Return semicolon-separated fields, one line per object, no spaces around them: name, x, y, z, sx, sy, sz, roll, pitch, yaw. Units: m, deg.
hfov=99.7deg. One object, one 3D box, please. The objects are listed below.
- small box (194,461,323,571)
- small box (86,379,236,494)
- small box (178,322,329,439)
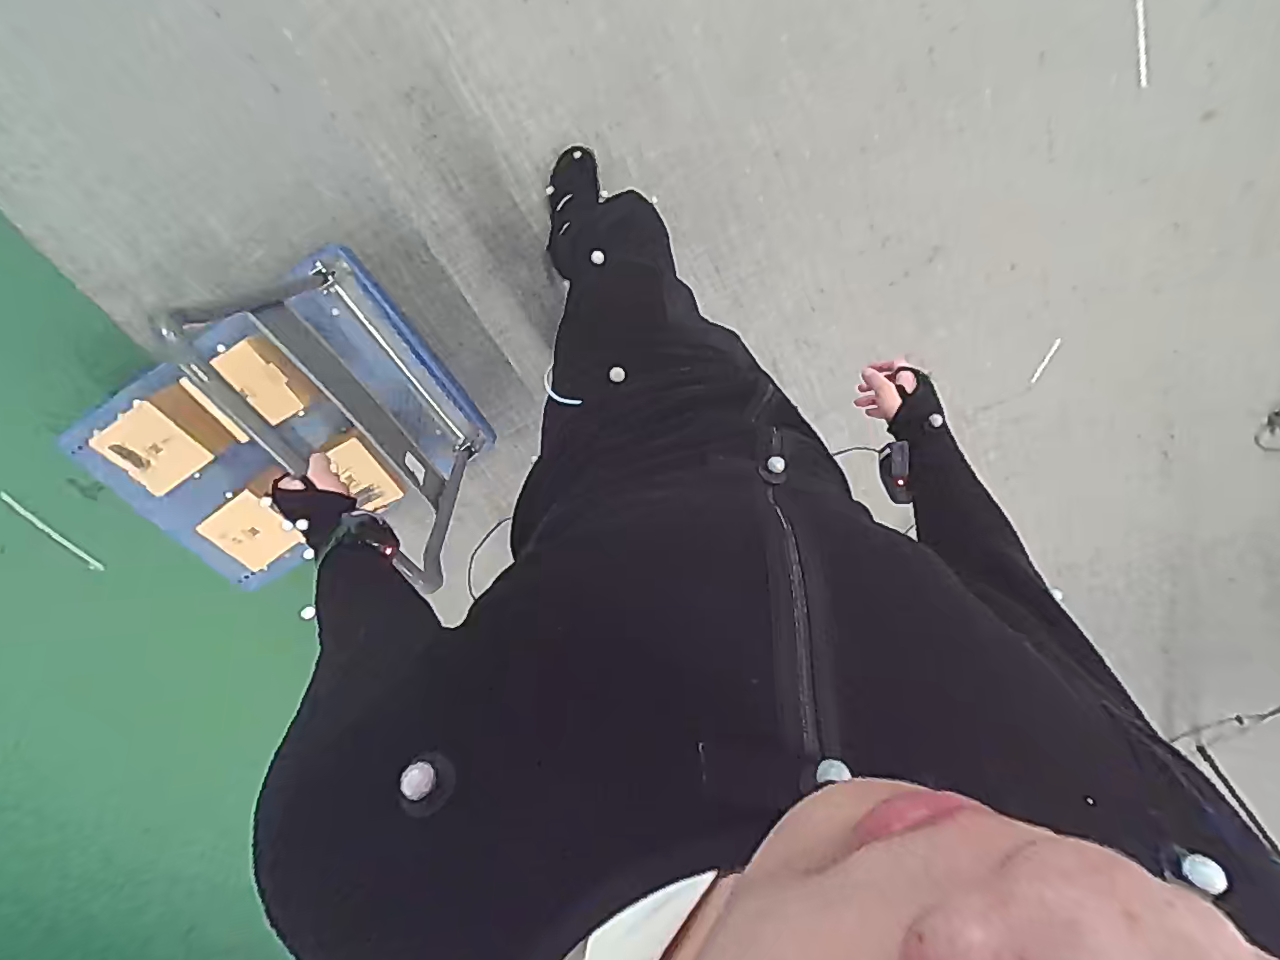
small box;-0.924;0.082;1.335;0.179;0.176;0.168;-32;117;9
small box;-1.049;-0.106;1.215;0.179;0.176;0.168;-31;119;7
small box;-0.831;-0.222;1.186;0.179;0.176;0.168;-28;118;6
